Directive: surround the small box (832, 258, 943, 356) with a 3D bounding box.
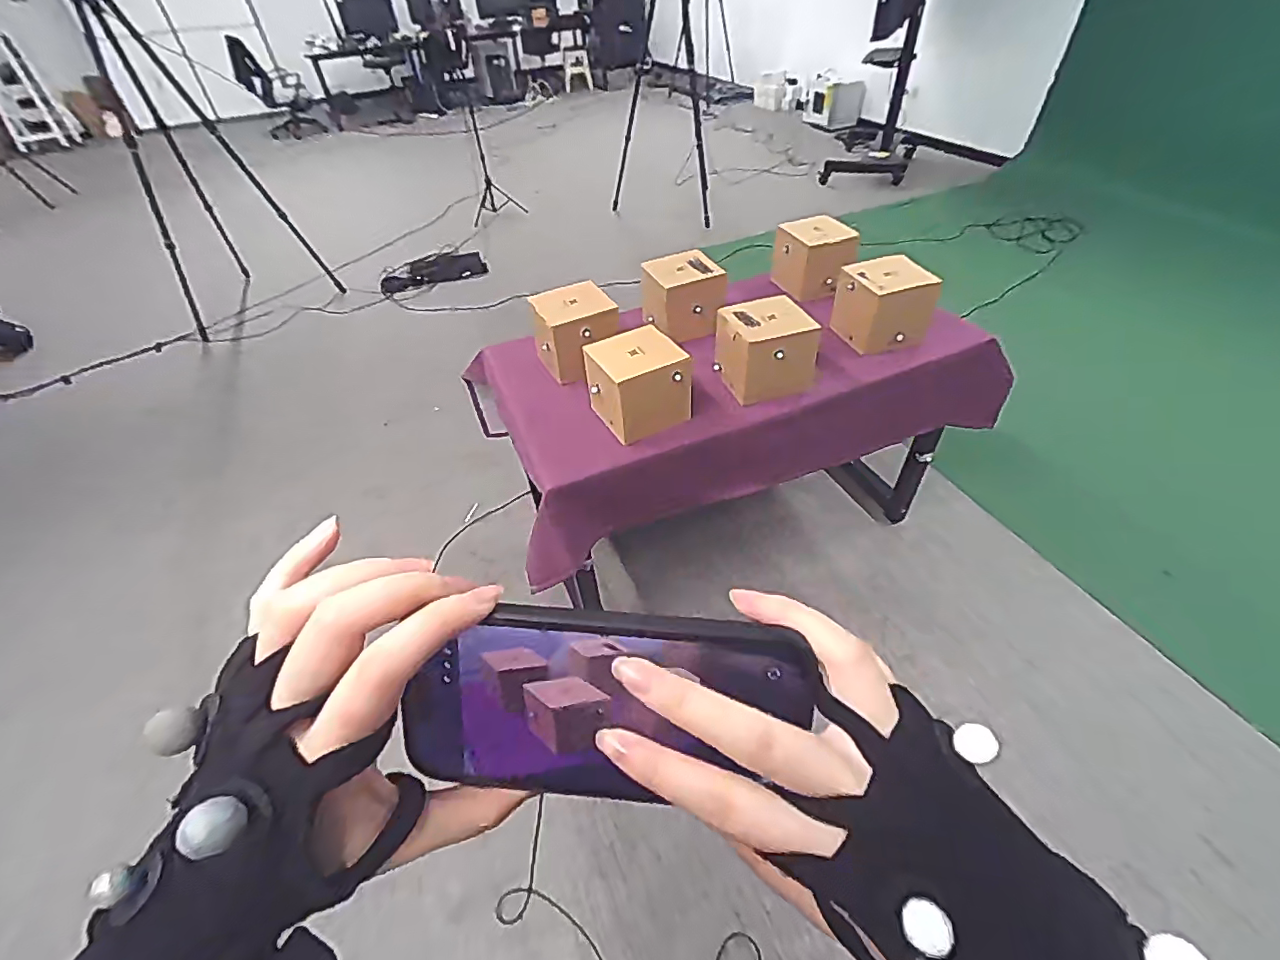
[{"bbox_3d":[0.617,-0.439,1.374,0.179,0.176,0.168,-13,46,-10],"label":"small box"}]

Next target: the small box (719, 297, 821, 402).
[{"bbox_3d":[0.292,-0.302,1.260,0.179,0.176,0.168,-14,46,-11],"label":"small box"}]

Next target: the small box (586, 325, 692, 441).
[{"bbox_3d":[0.000,-0.212,1.192,0.179,0.176,0.168,-23,48,-19],"label":"small box"}]

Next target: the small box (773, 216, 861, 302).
[{"bbox_3d":[0.508,-0.646,1.583,0.168,0.176,0.179,-17,47,-11],"label":"small box"}]
